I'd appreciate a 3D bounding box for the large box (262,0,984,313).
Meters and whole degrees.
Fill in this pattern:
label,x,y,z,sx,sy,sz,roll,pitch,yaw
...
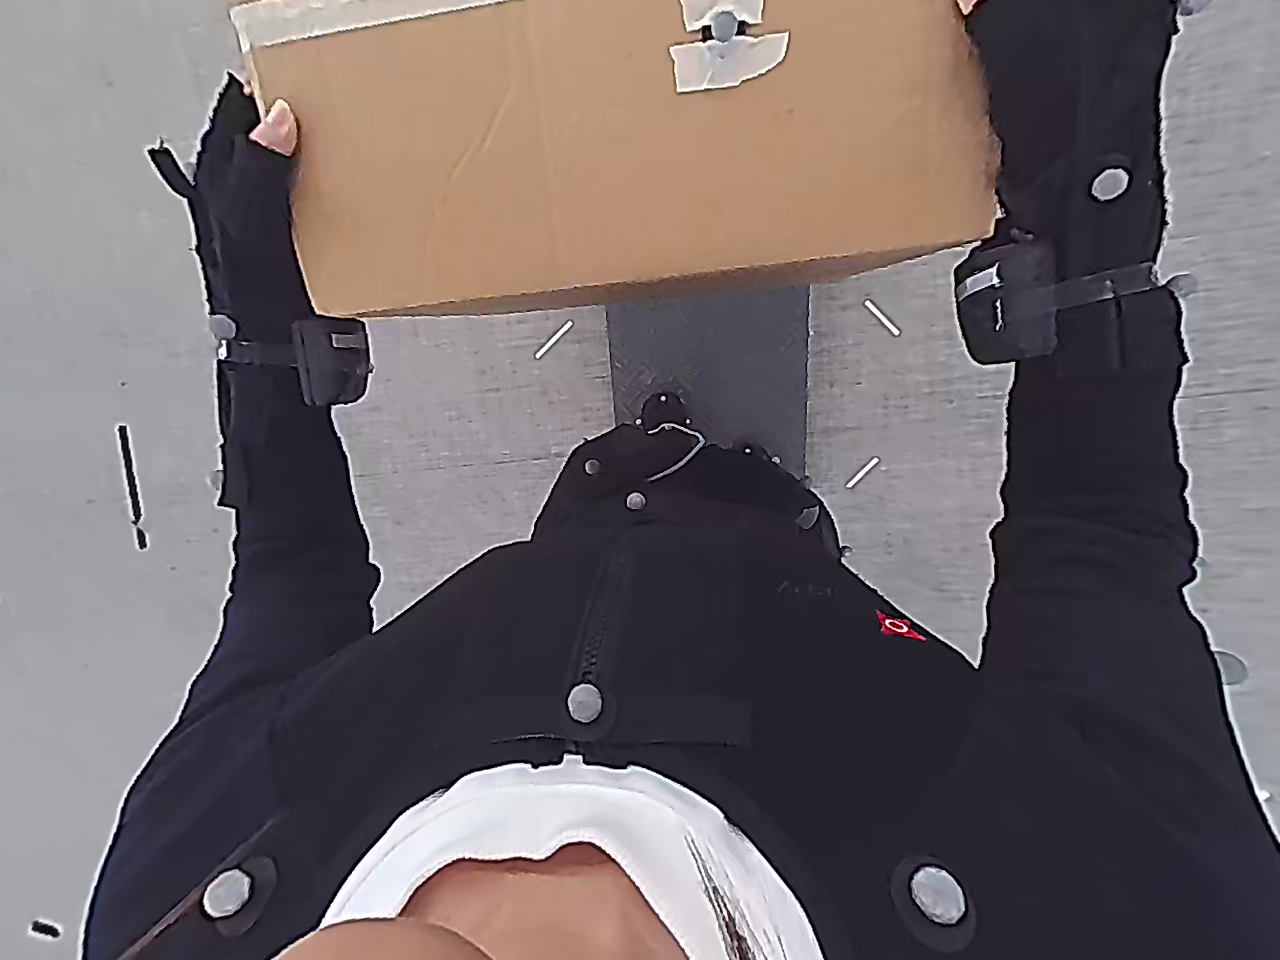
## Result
label,x,y,z,sx,sy,sz,roll,pitch,yaw
large box,-0.009,-0.318,0.434,0.408,0.320,0.320,-4,107,8
